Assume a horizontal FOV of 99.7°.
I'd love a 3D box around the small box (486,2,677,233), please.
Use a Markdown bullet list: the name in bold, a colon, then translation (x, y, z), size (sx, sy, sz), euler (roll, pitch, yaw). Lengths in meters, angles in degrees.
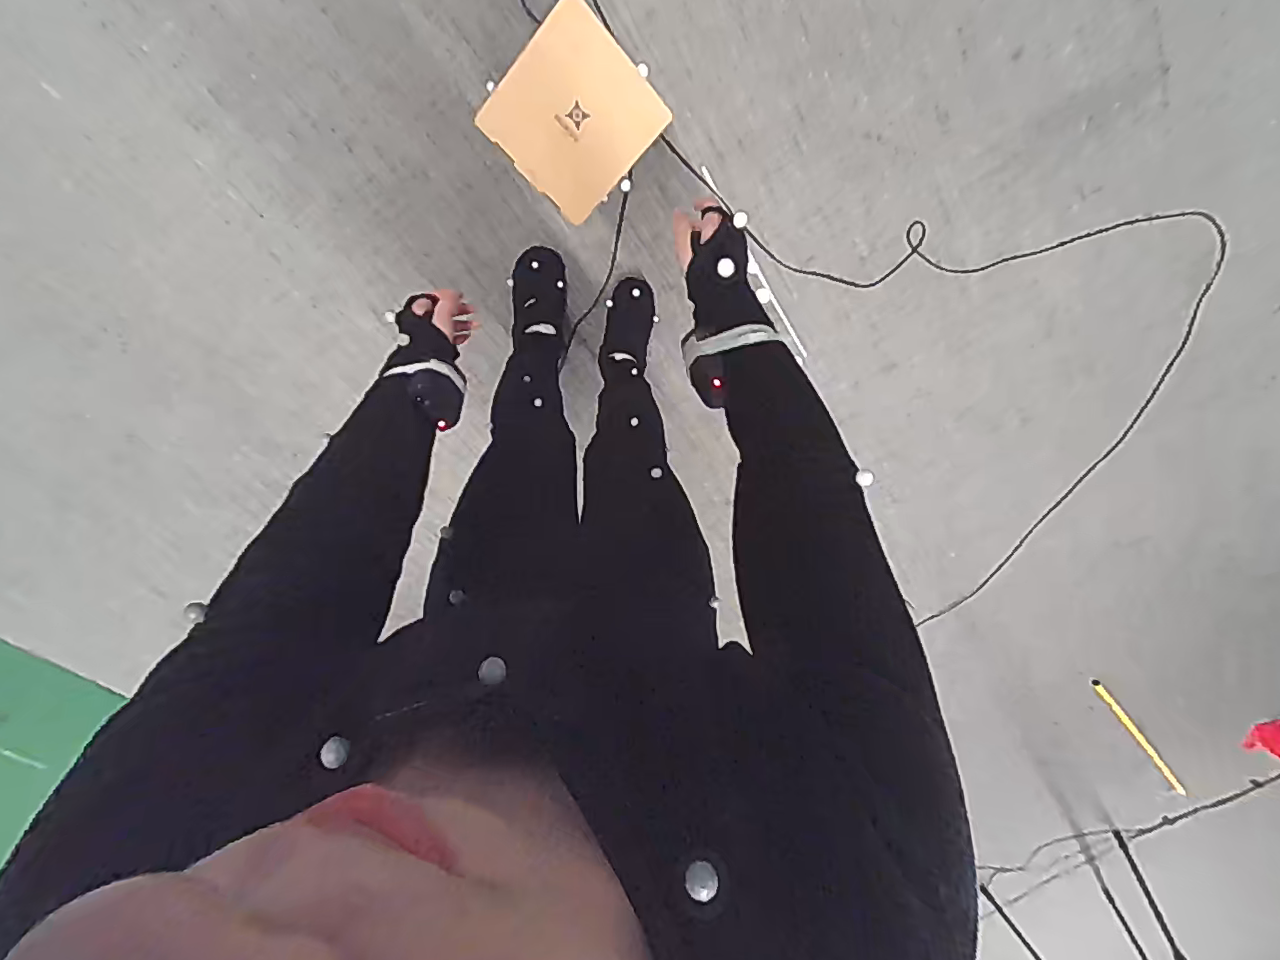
- **small box**: translation (-0.074, -0.467, 0.716), size (0.168, 0.176, 0.179), euler (40, 114, -23)
